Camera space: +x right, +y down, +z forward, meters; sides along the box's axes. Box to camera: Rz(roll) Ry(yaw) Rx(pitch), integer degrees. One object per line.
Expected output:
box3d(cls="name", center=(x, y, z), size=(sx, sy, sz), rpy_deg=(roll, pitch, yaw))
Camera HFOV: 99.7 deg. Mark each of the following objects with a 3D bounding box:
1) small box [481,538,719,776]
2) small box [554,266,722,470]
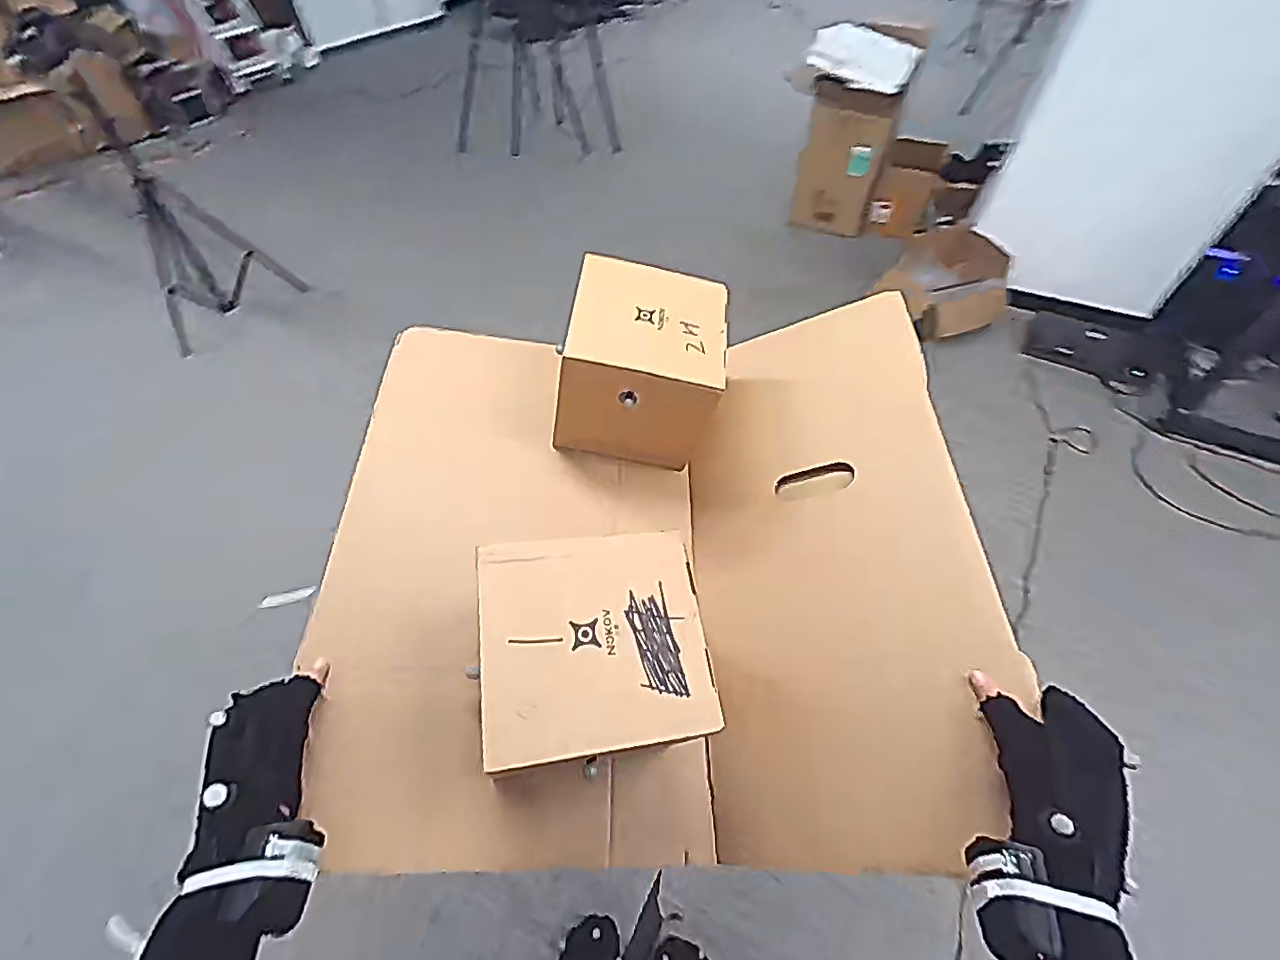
box3d(cls="small box", center=(-0.050, 0.165, 0.496), size=(0.179, 0.176, 0.168), rpy_deg=(-4, 62, -14))
box3d(cls="small box", center=(-0.007, -0.130, 0.677), size=(0.179, 0.176, 0.168), rpy_deg=(11, 59, -7))
